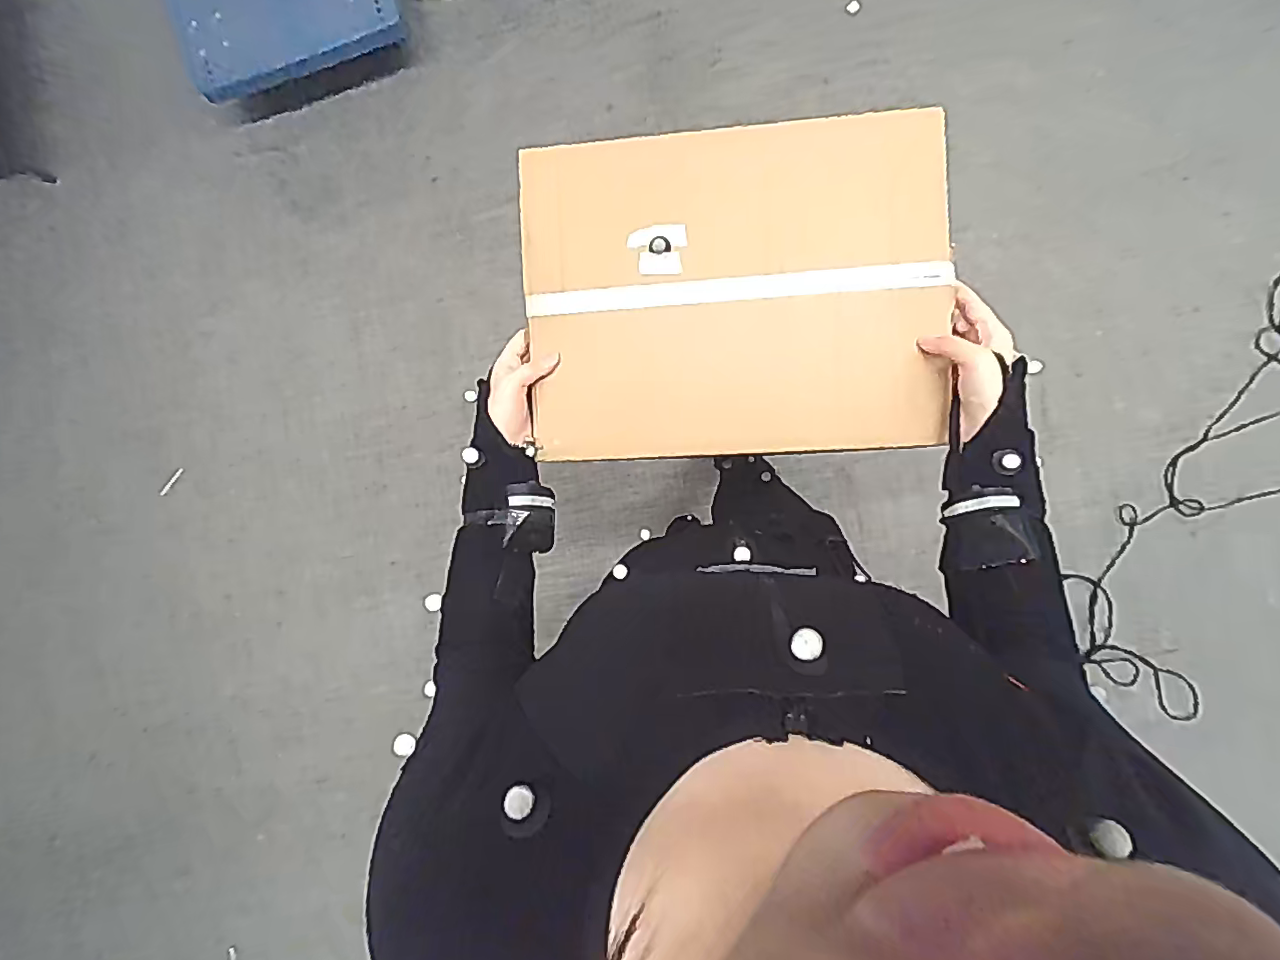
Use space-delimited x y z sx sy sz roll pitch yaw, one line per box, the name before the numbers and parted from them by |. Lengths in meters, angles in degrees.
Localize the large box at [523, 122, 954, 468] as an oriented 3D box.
large box | 0.101 -0.225 0.687 0.408 0.320 0.320 9 107 9
